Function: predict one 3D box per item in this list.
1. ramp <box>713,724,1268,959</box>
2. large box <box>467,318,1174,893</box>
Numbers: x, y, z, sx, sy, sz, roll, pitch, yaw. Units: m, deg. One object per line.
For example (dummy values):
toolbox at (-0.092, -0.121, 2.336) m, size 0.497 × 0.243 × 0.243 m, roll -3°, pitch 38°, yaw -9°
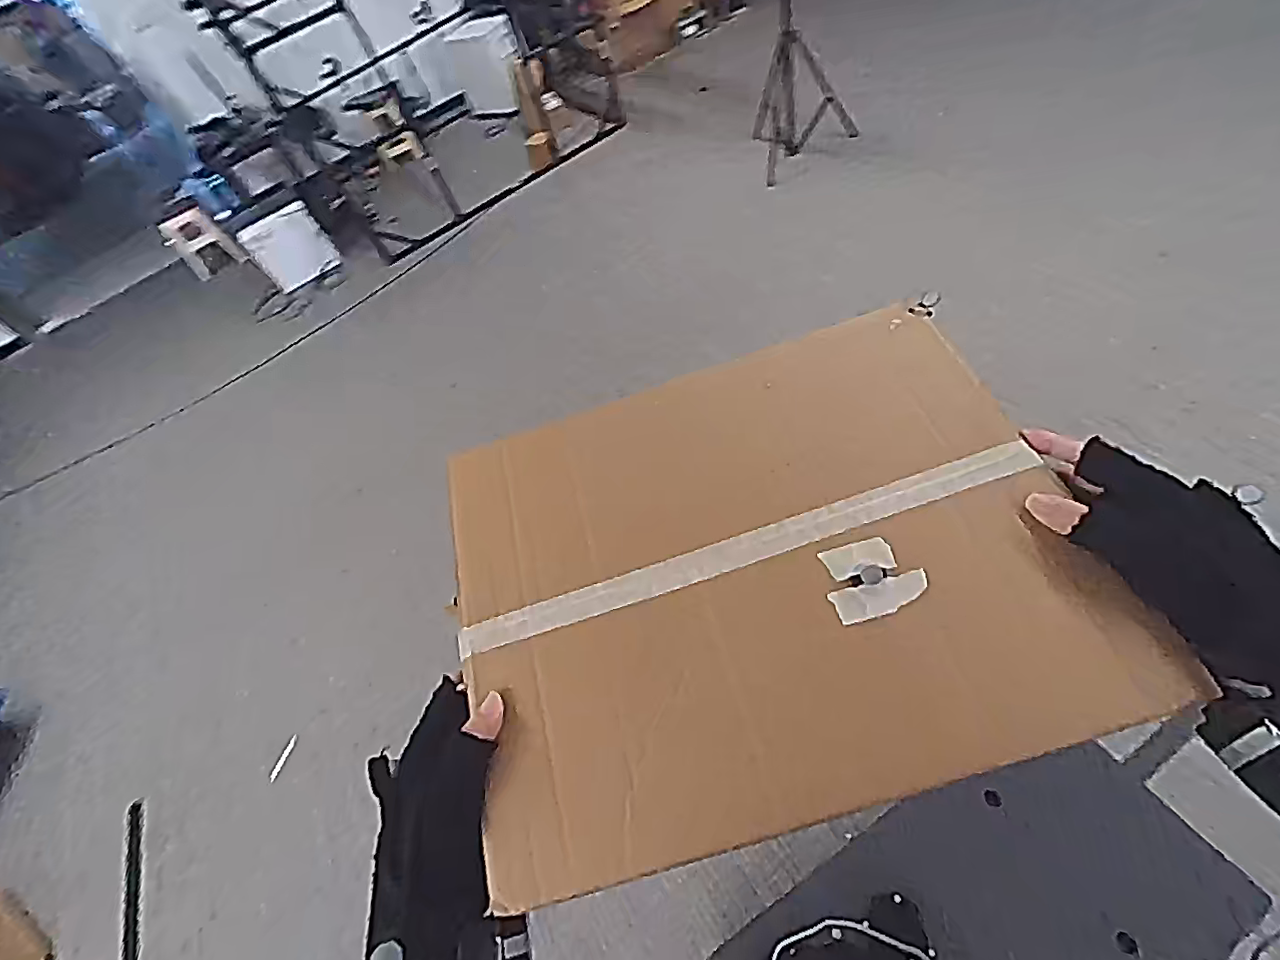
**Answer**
ramp at (0.675, 0.893, 1.065) m, size 0.991 × 0.206 × 0.509 m, roll -35°, pitch 50°, yaw -9°
large box at (0.103, 0.122, 0.511) m, size 0.408 × 0.320 × 0.320 m, roll -19°, pitch 61°, yaw 2°
